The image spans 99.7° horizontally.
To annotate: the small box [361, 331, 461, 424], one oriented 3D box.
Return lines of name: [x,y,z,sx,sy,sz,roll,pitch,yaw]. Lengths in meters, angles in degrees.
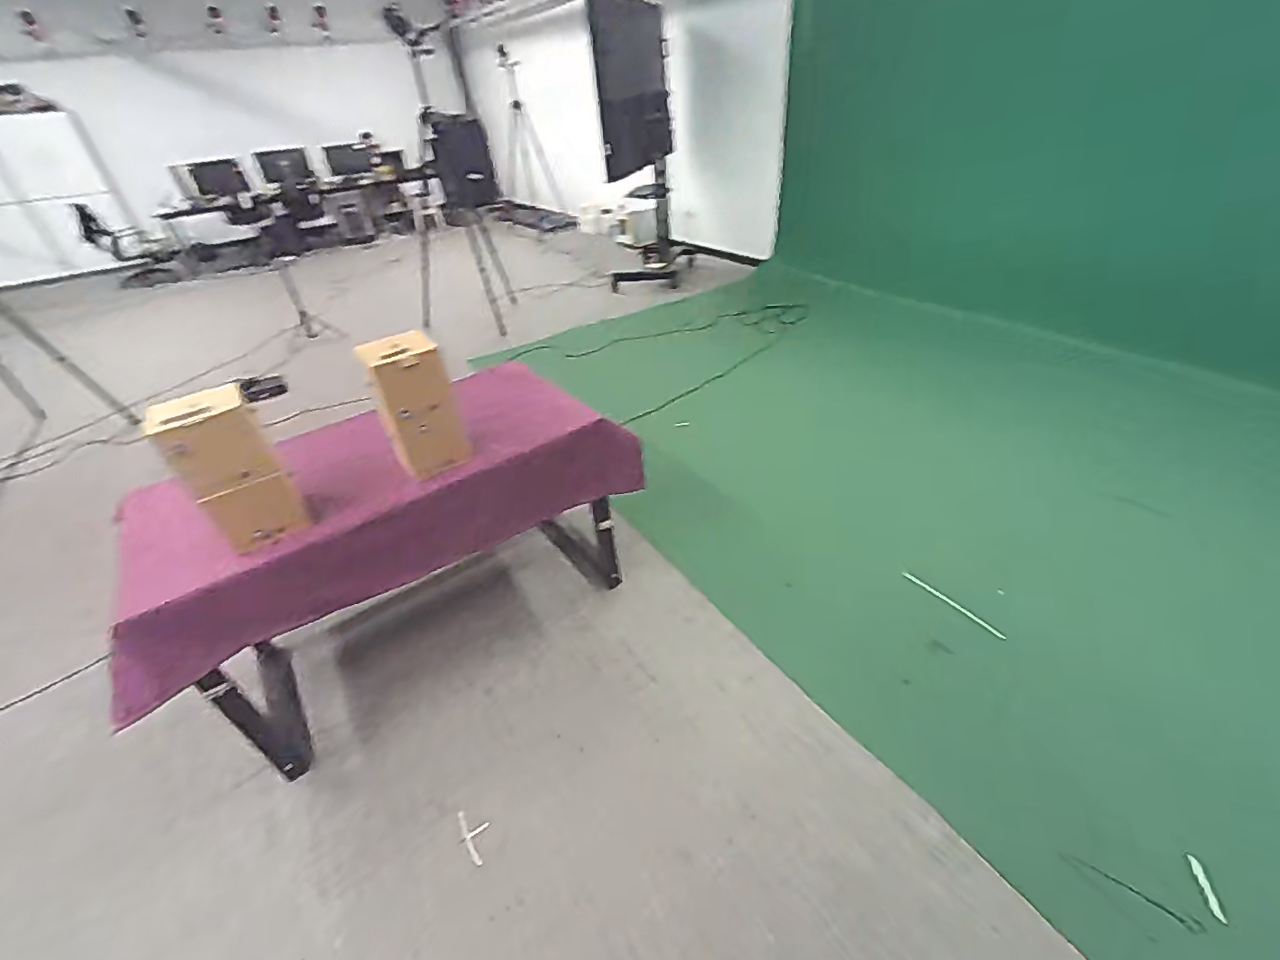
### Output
small box: [-0.584,-0.261,1.390,0.168,0.176,0.179,-27,40,-26]

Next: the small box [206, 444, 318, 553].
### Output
small box: [-0.906,0.045,1.300,0.168,0.176,0.179,-26,41,-25]

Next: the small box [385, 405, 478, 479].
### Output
small box: [-0.570,-0.128,1.485,0.168,0.176,0.179,-28,40,-25]
